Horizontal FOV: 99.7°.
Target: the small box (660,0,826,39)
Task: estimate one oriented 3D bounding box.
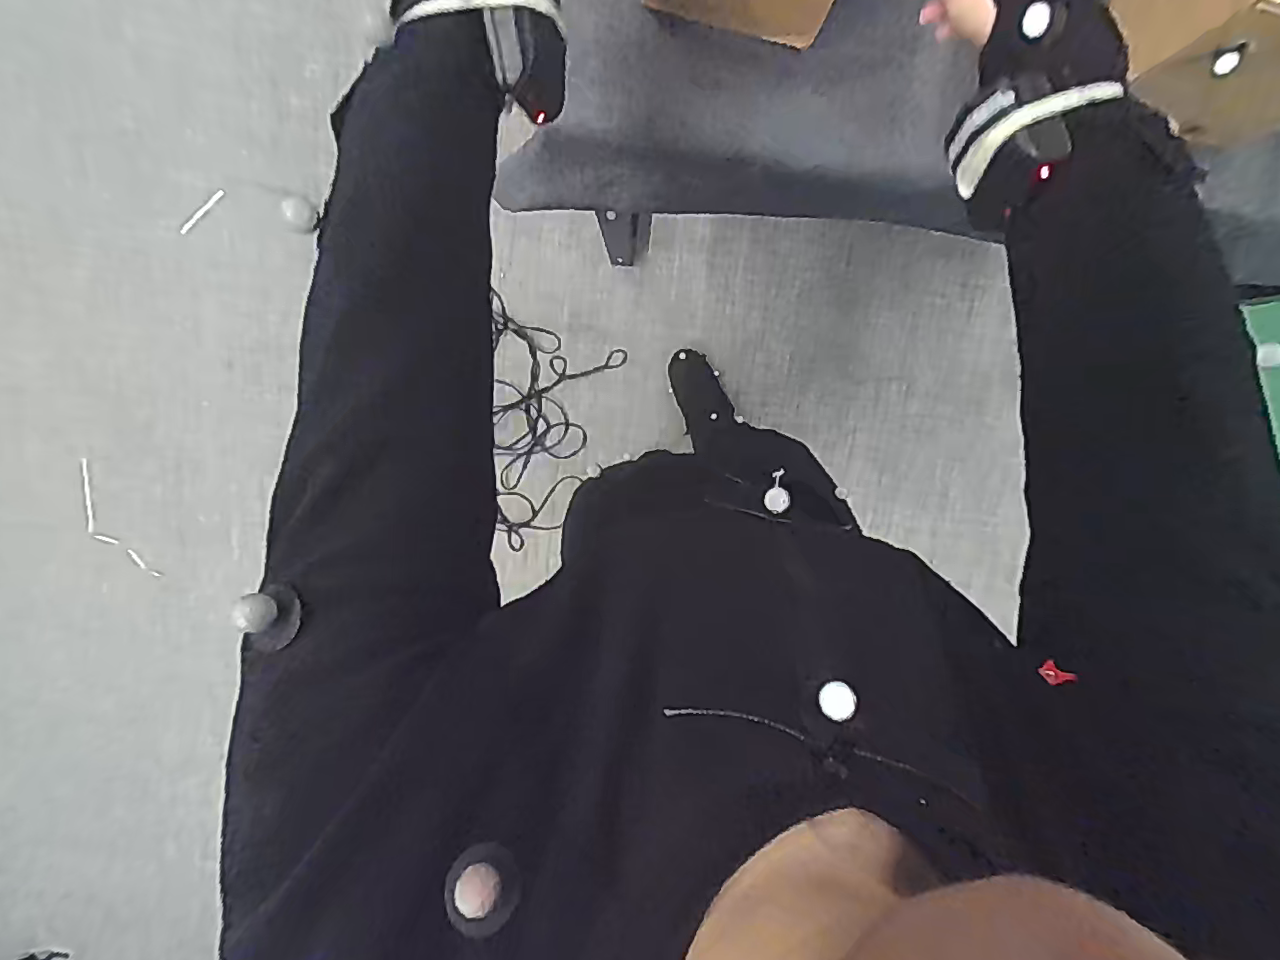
[{"bbox_3d":[0.103,-0.515,0.444,0.179,0.176,0.168,13,101,-3],"label":"small box"}]
